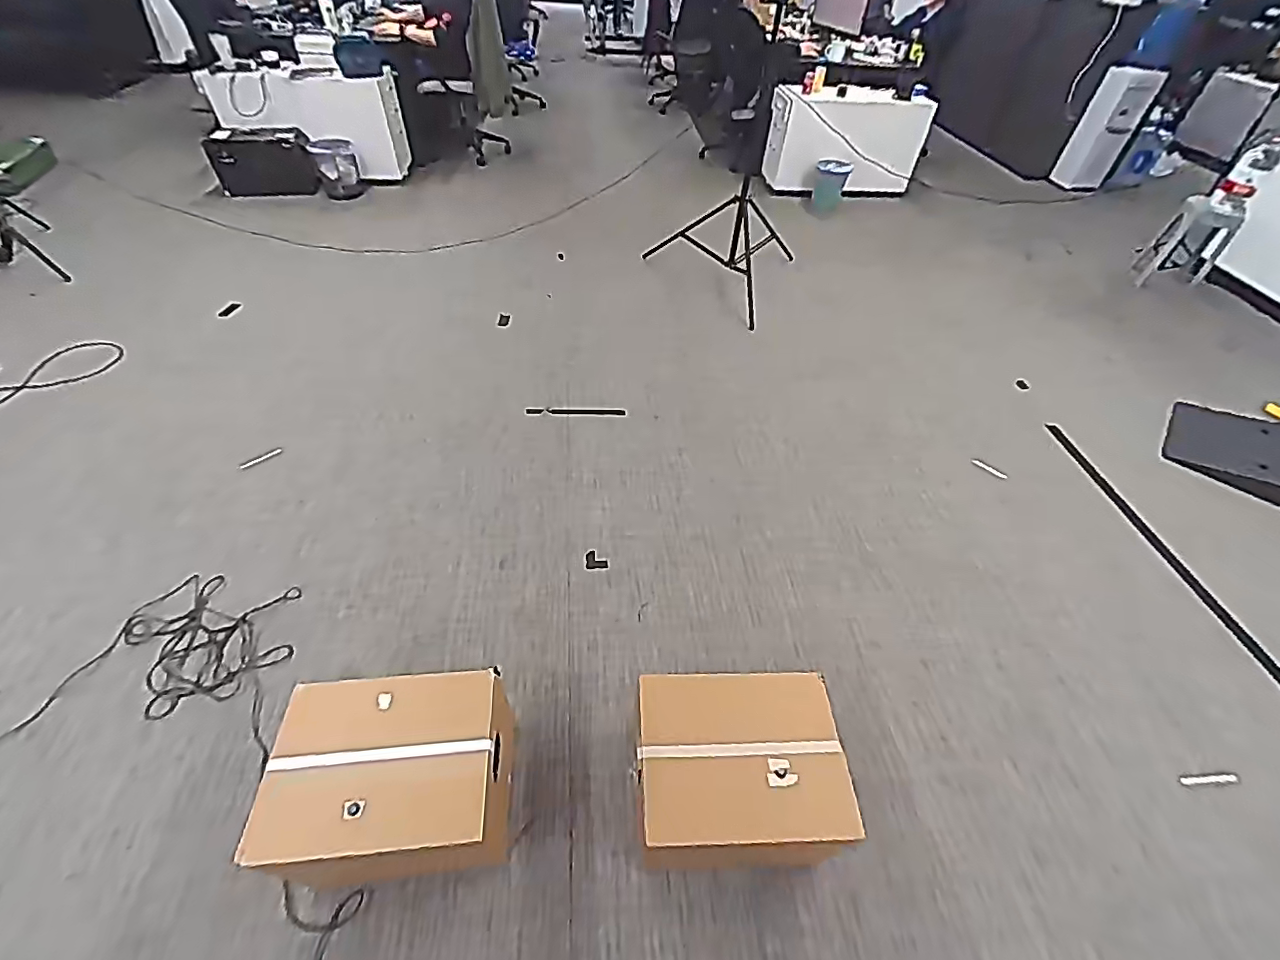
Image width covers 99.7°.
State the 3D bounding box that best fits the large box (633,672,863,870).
[{"bbox_3d":[0.198,0.638,1.188,0.408,0.320,0.320,1,47,-4],"label":"large box"}]
